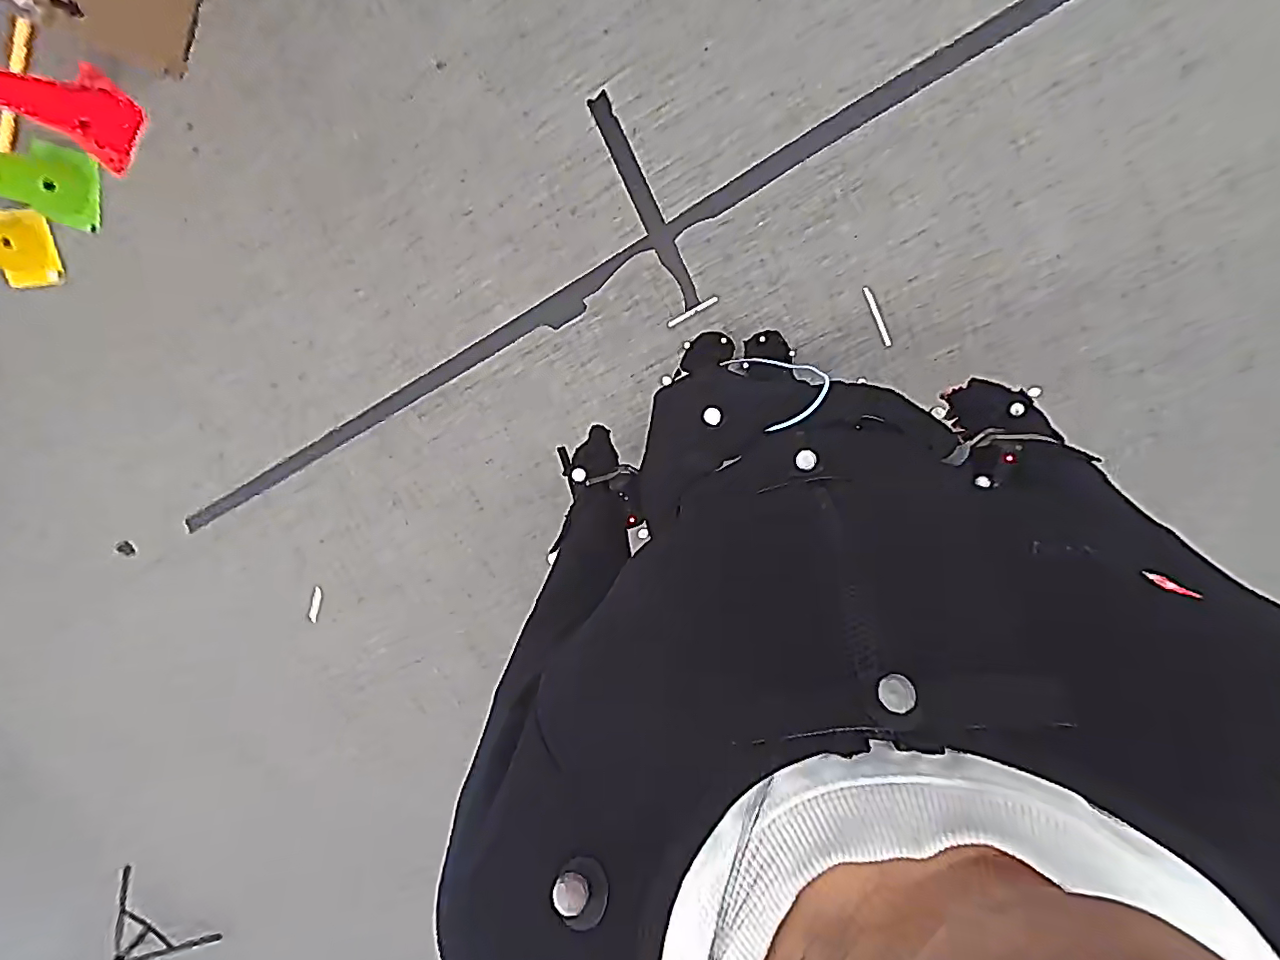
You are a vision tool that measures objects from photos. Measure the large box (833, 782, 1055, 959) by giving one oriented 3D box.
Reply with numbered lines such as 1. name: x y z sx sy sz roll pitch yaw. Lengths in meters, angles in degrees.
1. large box: 0.838 1.167 1.552 0.408 0.320 0.320 -33 100 14
